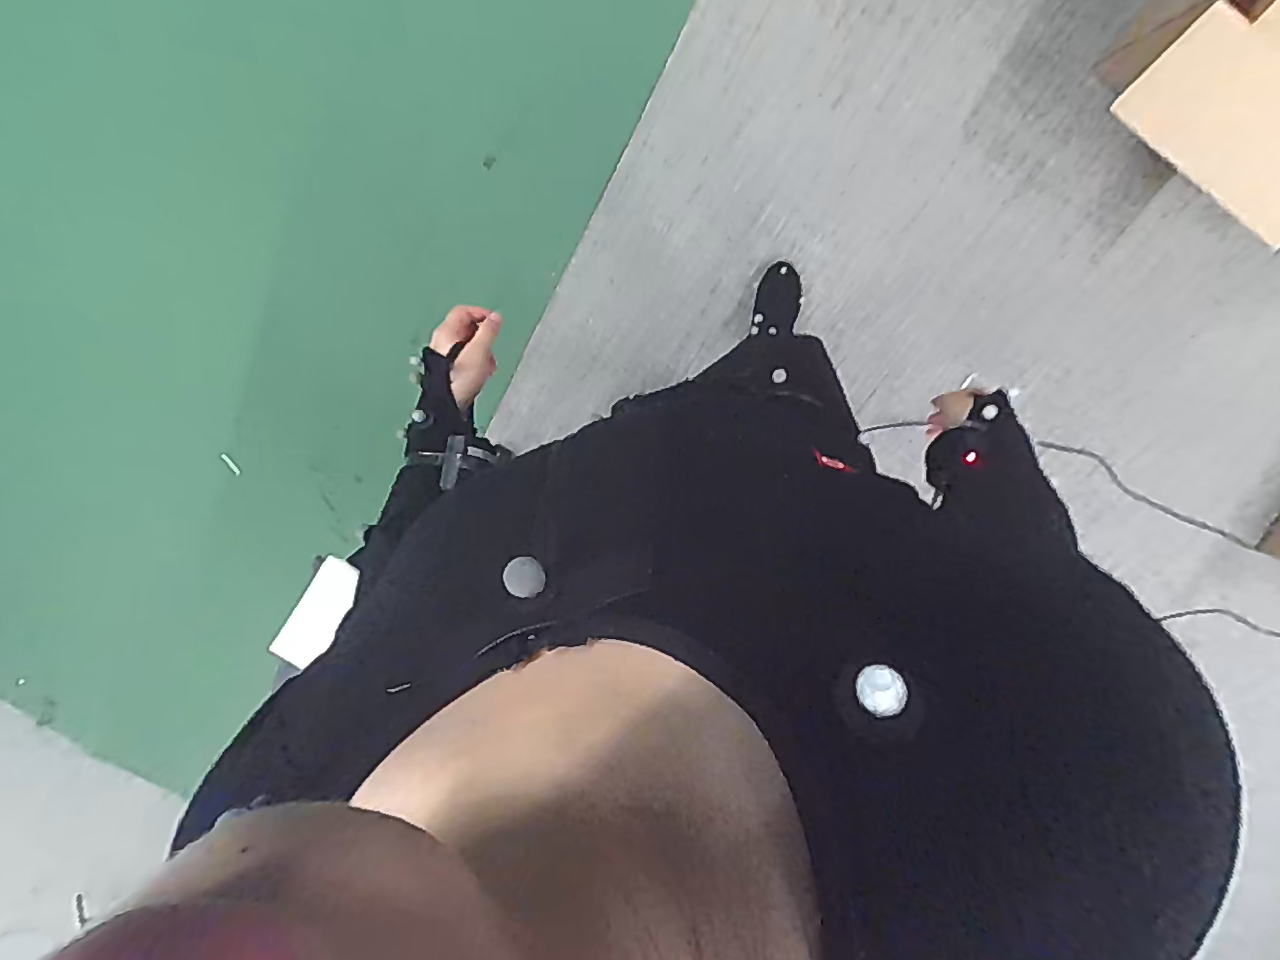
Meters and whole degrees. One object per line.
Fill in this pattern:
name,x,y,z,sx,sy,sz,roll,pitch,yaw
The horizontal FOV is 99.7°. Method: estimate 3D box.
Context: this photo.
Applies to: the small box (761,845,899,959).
small box,0.315,0.772,0.913,0.168,0.176,0.179,26,112,-1
